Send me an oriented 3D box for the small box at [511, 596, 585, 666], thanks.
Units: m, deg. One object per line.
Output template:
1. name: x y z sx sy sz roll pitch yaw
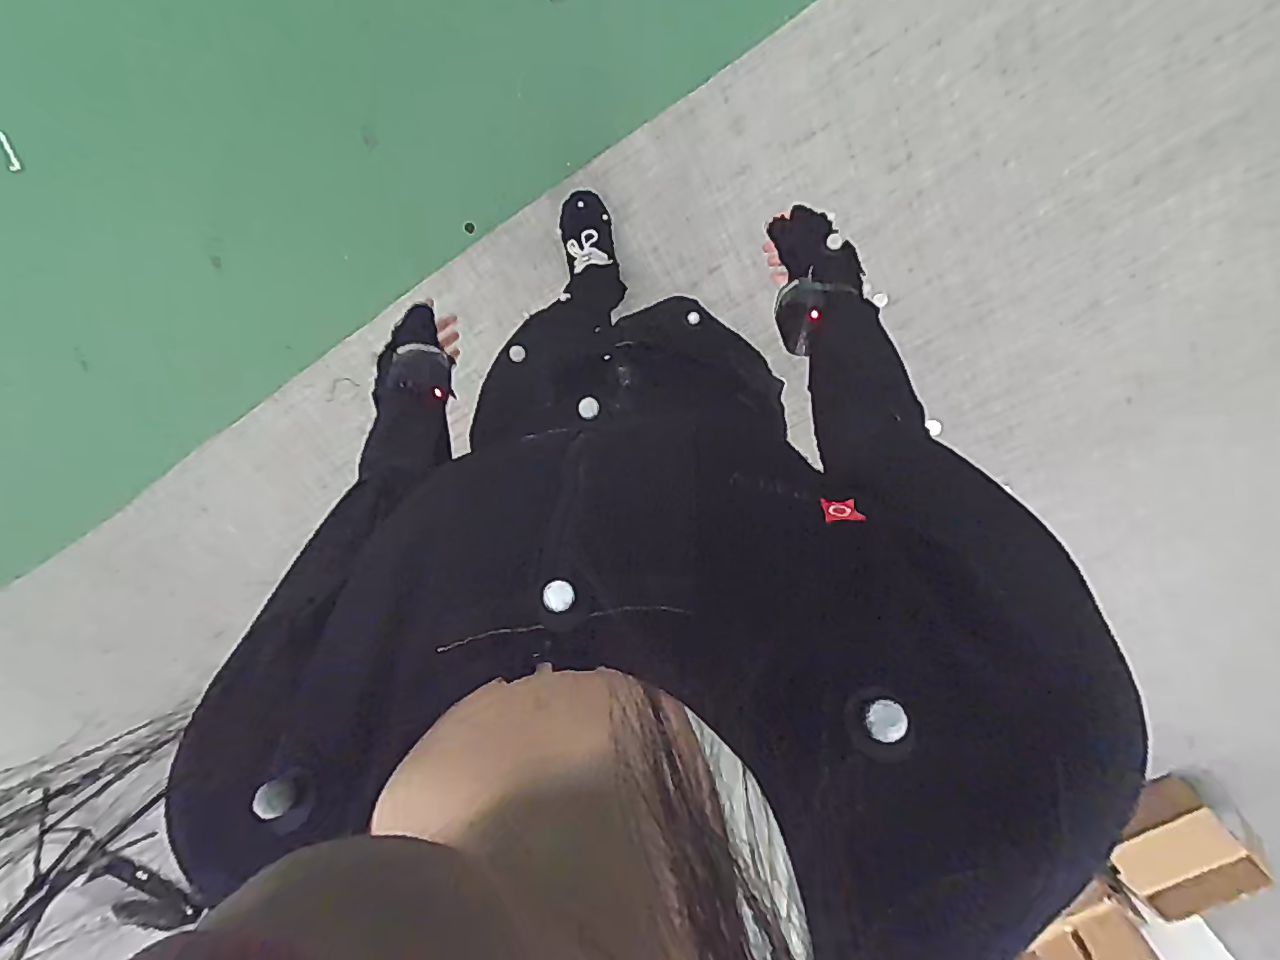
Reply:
1. small box: -0.292 0.508 1.738 0.179 0.176 0.168 -34 113 16

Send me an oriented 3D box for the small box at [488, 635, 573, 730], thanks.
1. small box: -0.315 0.595 1.600 0.179 0.176 0.168 -31 114 15
